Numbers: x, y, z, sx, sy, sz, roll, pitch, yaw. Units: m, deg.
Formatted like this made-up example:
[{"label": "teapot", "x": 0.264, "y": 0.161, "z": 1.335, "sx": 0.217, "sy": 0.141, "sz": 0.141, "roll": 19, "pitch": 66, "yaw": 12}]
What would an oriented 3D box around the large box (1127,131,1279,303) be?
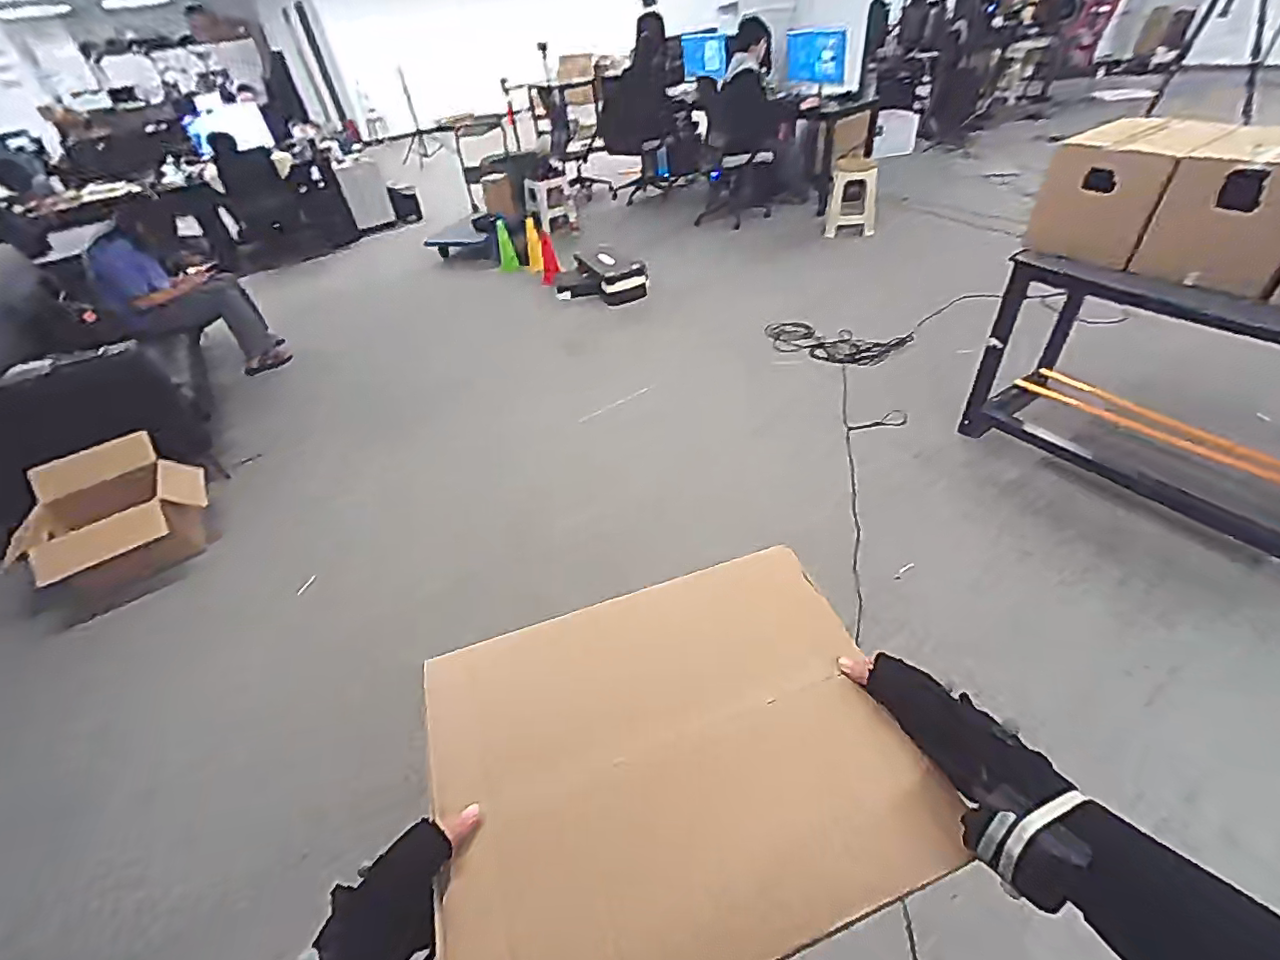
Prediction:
[{"label": "large box", "x": 1.690, "y": -0.740, "z": 1.504, "sx": 0.408, "sy": 0.320, "sz": 0.320, "roll": -29, "pitch": 44, "yaw": -21}]
